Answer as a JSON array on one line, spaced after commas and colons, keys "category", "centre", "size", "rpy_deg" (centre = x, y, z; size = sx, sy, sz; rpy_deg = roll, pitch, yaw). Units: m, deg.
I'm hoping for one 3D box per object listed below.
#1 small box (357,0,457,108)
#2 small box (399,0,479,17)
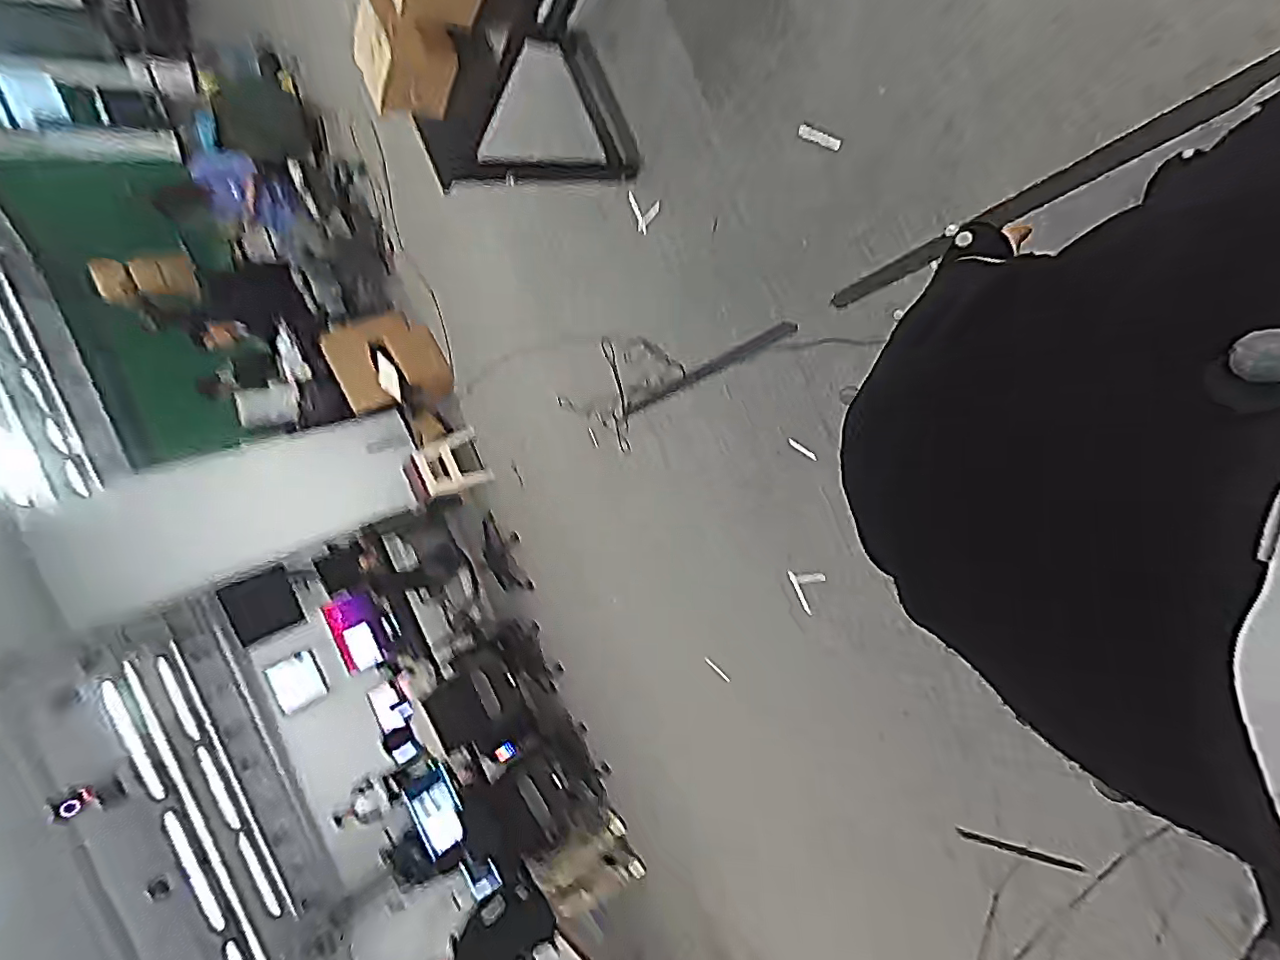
[{"category": "small box", "centre": [-0.570, -1.051, 1.326], "size": [0.179, 0.176, 0.168], "rpy_deg": [-24, 90, 54]}, {"category": "small box", "centre": [-0.420, -1.106, 1.104], "size": [0.179, 0.176, 0.168], "rpy_deg": [-18, 94, 54]}]
